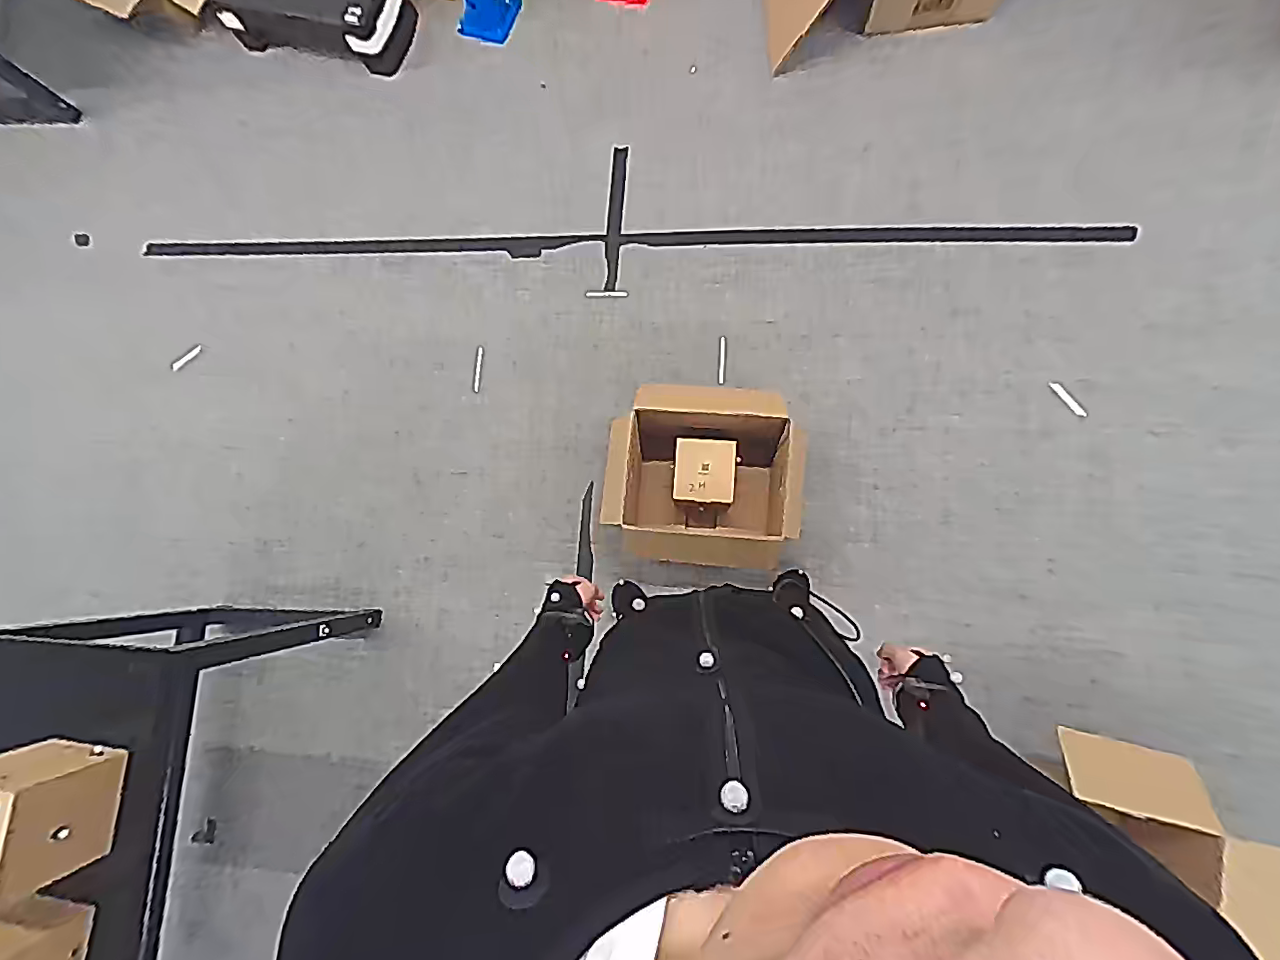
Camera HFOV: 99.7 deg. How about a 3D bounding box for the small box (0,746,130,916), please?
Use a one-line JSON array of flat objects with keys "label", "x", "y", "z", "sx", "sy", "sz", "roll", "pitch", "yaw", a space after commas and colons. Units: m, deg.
[{"label": "small box", "x": -1.011, "y": 0.567, "z": 0.899, "sx": 0.168, "sy": 0.176, "sz": 0.179, "roll": 4, "pitch": 84, "yaw": 8}]
